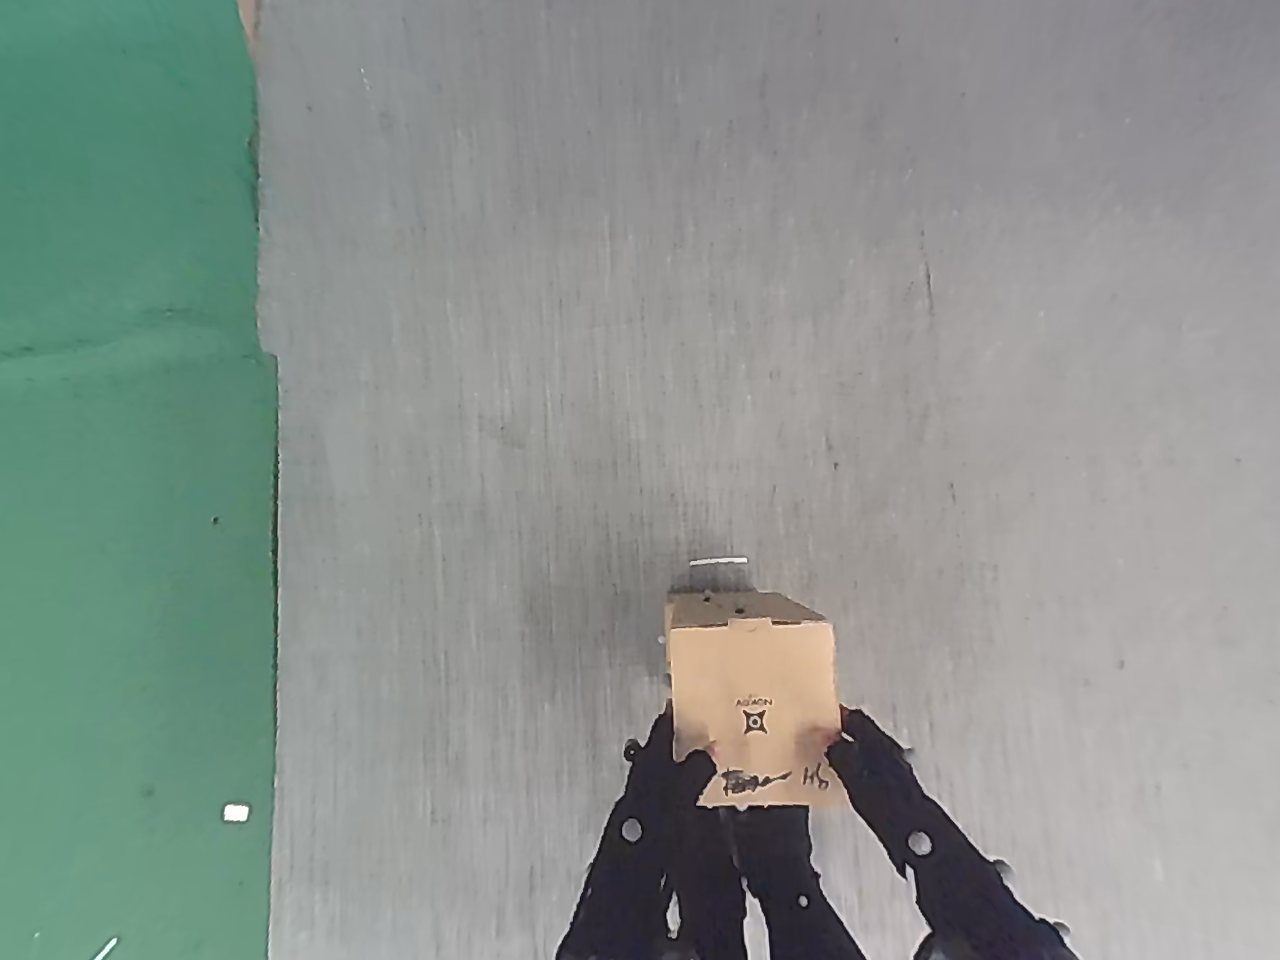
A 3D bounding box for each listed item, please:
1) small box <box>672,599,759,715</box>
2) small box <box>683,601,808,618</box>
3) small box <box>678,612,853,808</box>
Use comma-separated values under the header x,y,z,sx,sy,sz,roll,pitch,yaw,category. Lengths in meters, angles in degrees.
x,y,z,sx,sy,sz,roll,pitch,yaw,category
0.145,0.299,0.940,0.179,0.176,0.168,-2,82,5,small box
0.148,0.270,0.781,0.168,0.176,0.179,-3,83,5,small box
0.129,0.246,0.619,0.168,0.176,0.179,-3,82,5,small box
